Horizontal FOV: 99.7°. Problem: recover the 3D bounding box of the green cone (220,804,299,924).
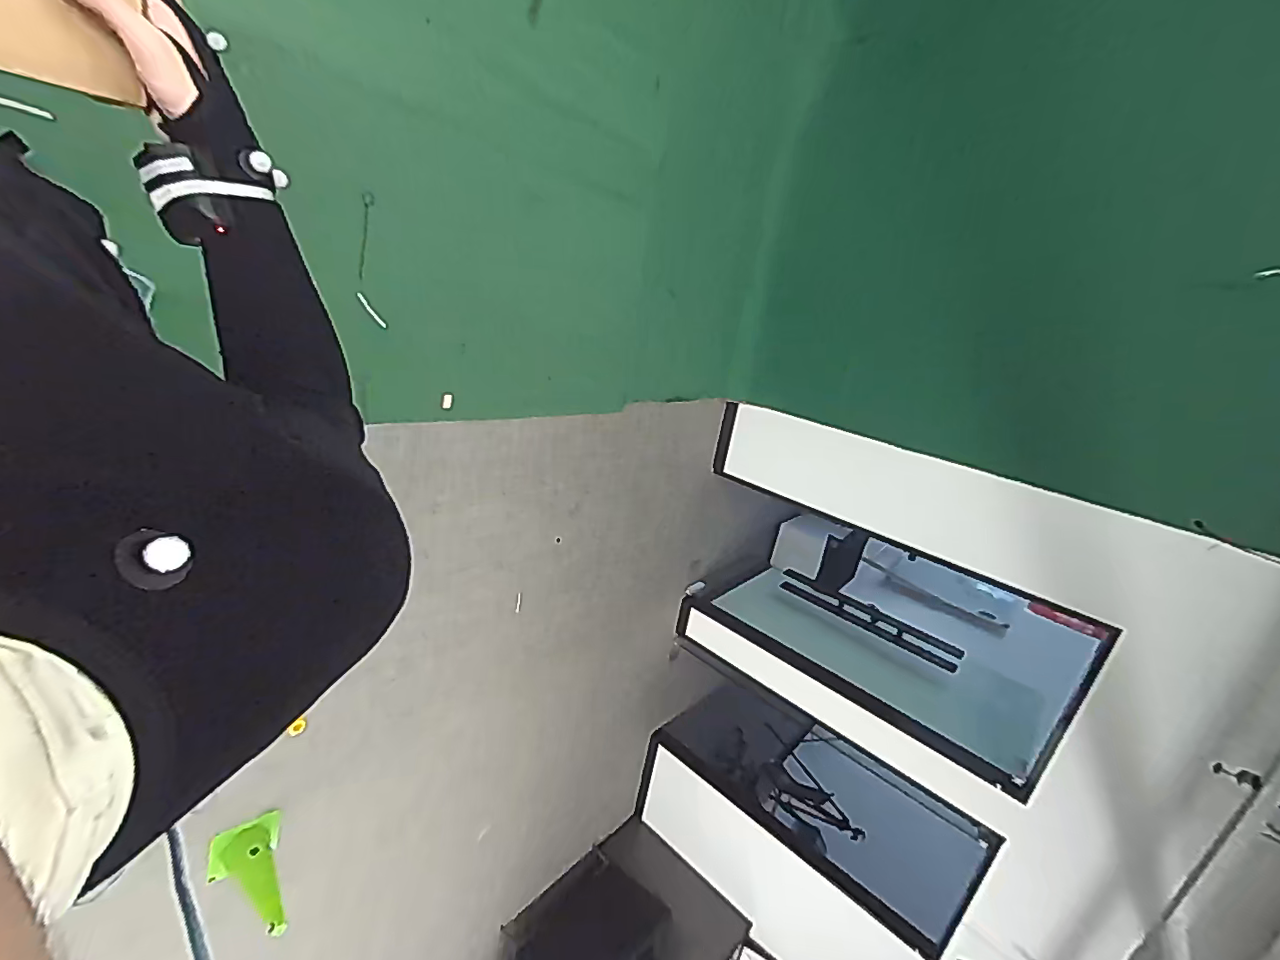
[{"bbox_3d":[-1.206,1.300,1.776,0.200,0.368,0.202,-5,112,-51],"label":"green cone"}]
